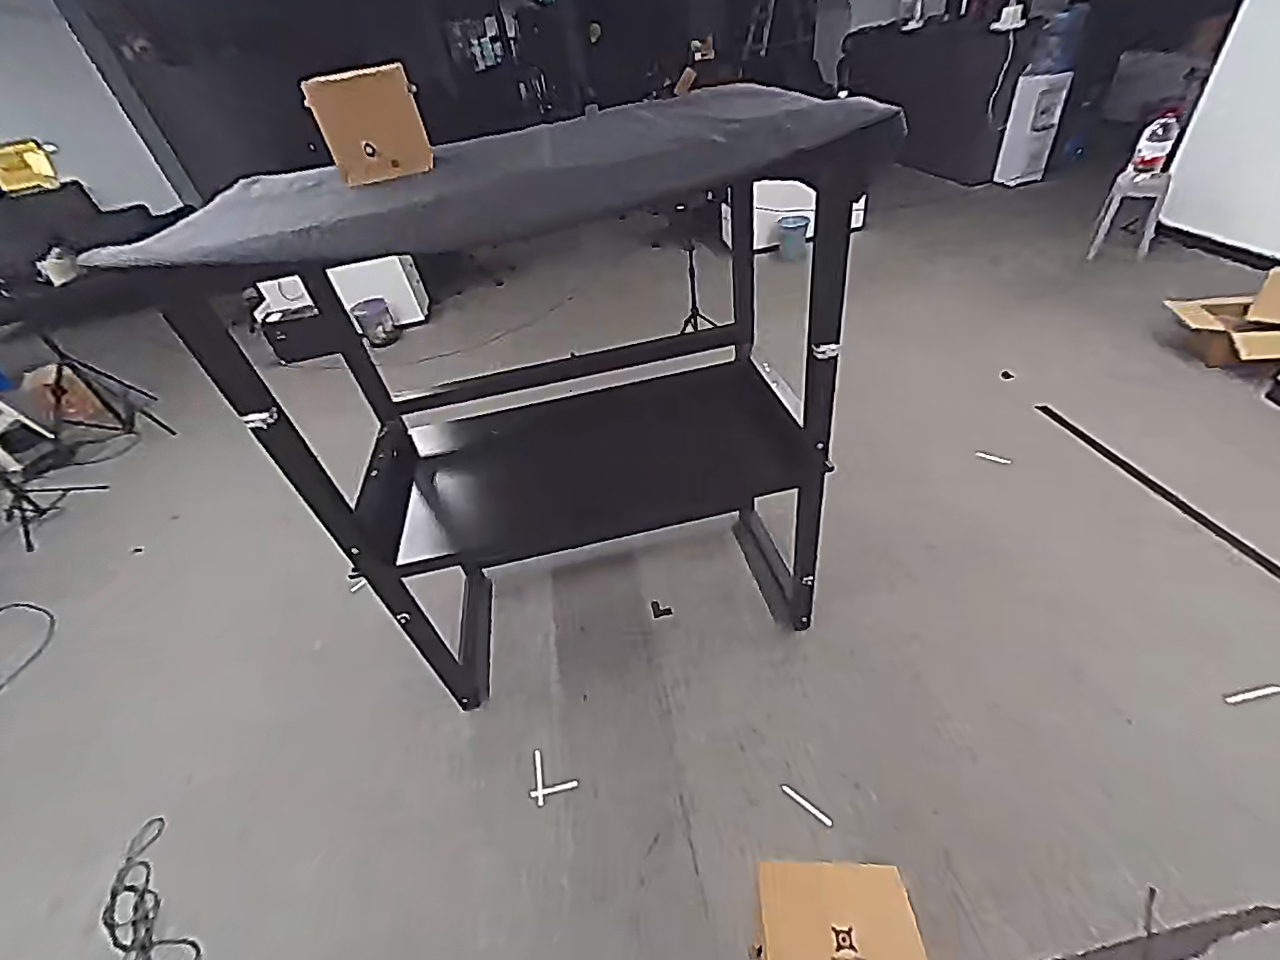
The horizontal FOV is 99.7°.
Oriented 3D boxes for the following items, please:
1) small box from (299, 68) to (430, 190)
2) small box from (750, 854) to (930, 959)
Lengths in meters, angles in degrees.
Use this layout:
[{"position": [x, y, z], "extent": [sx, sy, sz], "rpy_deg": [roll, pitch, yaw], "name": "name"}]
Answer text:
[{"position": [-0.522, -0.683, 1.053], "extent": [0.168, 0.176, 0.179], "rpy_deg": [-17, 42, -7], "name": "small box"}, {"position": [0.218, 0.558, 0.601], "extent": [0.168, 0.176, 0.179], "rpy_deg": [-2, 26, 3], "name": "small box"}]
